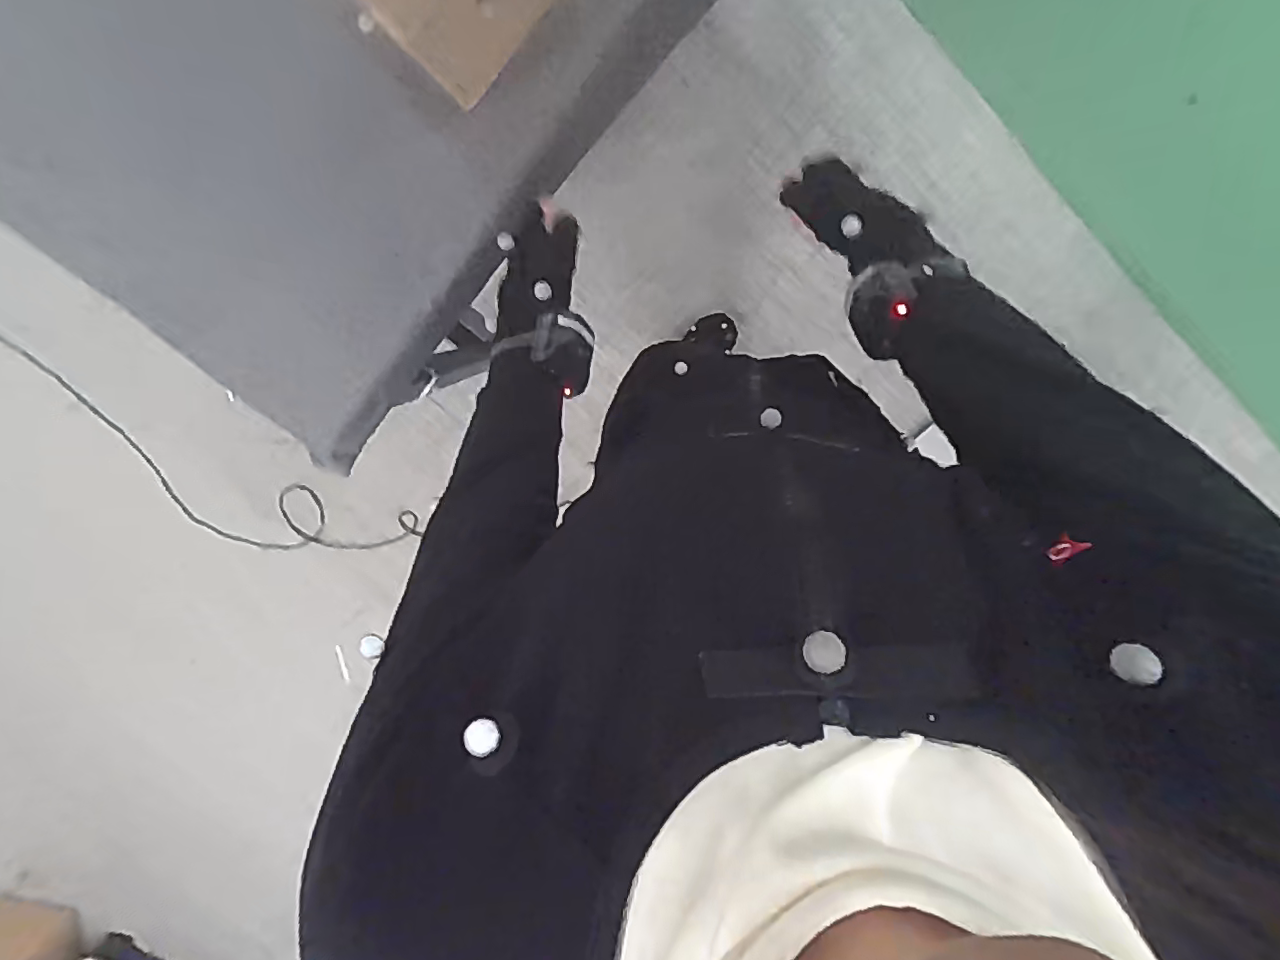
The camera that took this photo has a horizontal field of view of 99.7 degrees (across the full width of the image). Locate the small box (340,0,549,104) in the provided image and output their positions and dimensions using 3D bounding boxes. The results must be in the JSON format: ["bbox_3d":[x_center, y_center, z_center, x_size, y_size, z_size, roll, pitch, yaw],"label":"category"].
[{"bbox_3d":[-0.188,-0.477,0.465,0.168,0.176,0.179,43,106,-10],"label":"small box"}]

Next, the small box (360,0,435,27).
[{"bbox_3d":[-0.196,-0.426,0.309,0.179,0.176,0.168,41,105,-7],"label":"small box"}]
